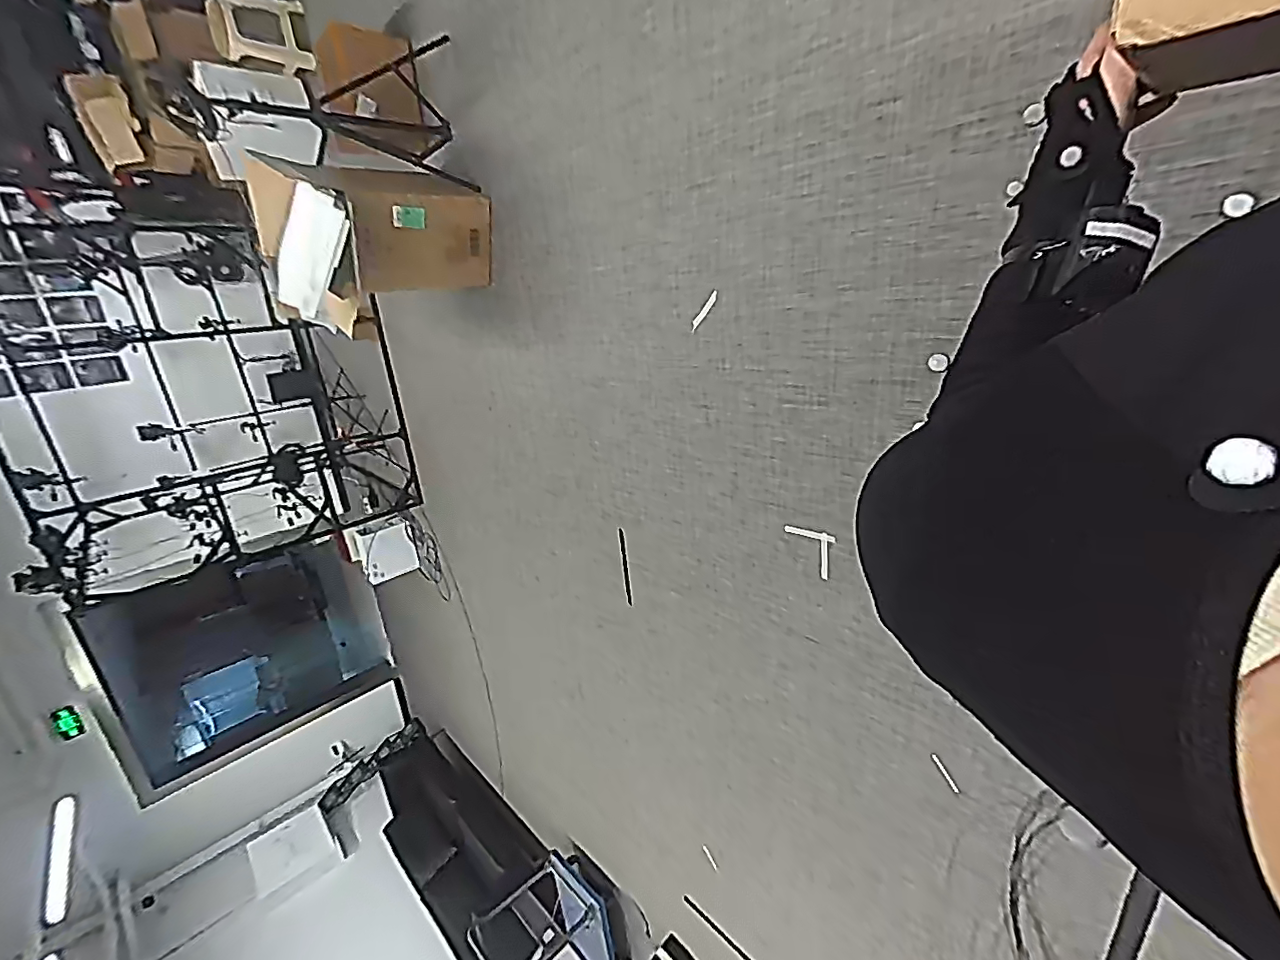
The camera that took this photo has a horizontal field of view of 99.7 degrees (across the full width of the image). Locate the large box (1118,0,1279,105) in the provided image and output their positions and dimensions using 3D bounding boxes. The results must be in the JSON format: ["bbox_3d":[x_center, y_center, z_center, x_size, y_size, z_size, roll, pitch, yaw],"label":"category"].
[{"bbox_3d":[0.425,-0.349,0.147,0.408,0.320,0.320,12,122,41],"label":"large box"}]
